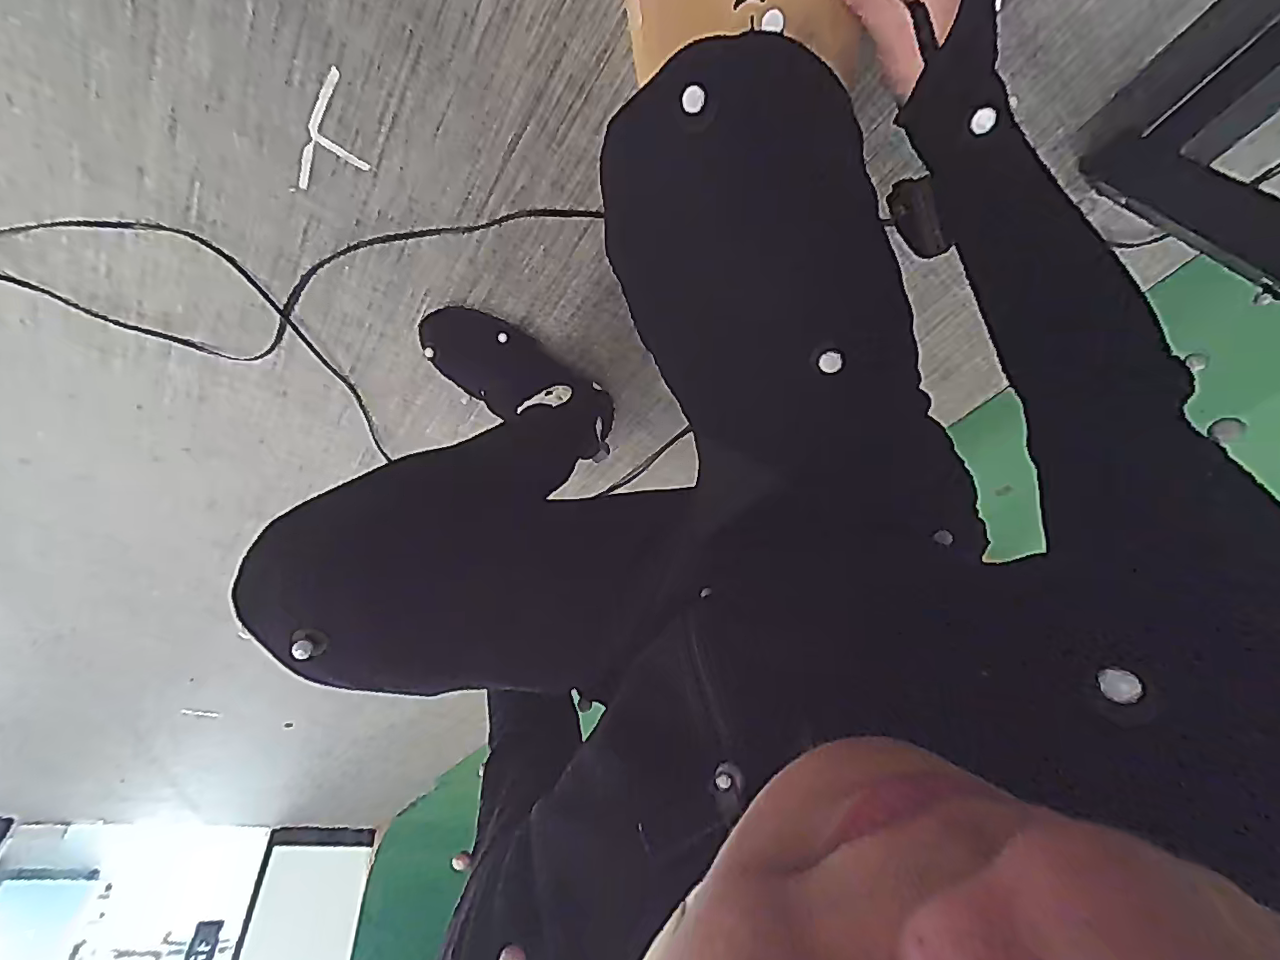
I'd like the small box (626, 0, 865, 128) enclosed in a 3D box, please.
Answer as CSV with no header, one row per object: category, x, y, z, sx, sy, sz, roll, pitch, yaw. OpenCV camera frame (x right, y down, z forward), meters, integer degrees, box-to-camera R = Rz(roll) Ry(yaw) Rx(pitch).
small box,0.069,-0.414,0.422,0.168,0.176,0.179,-10,139,6
